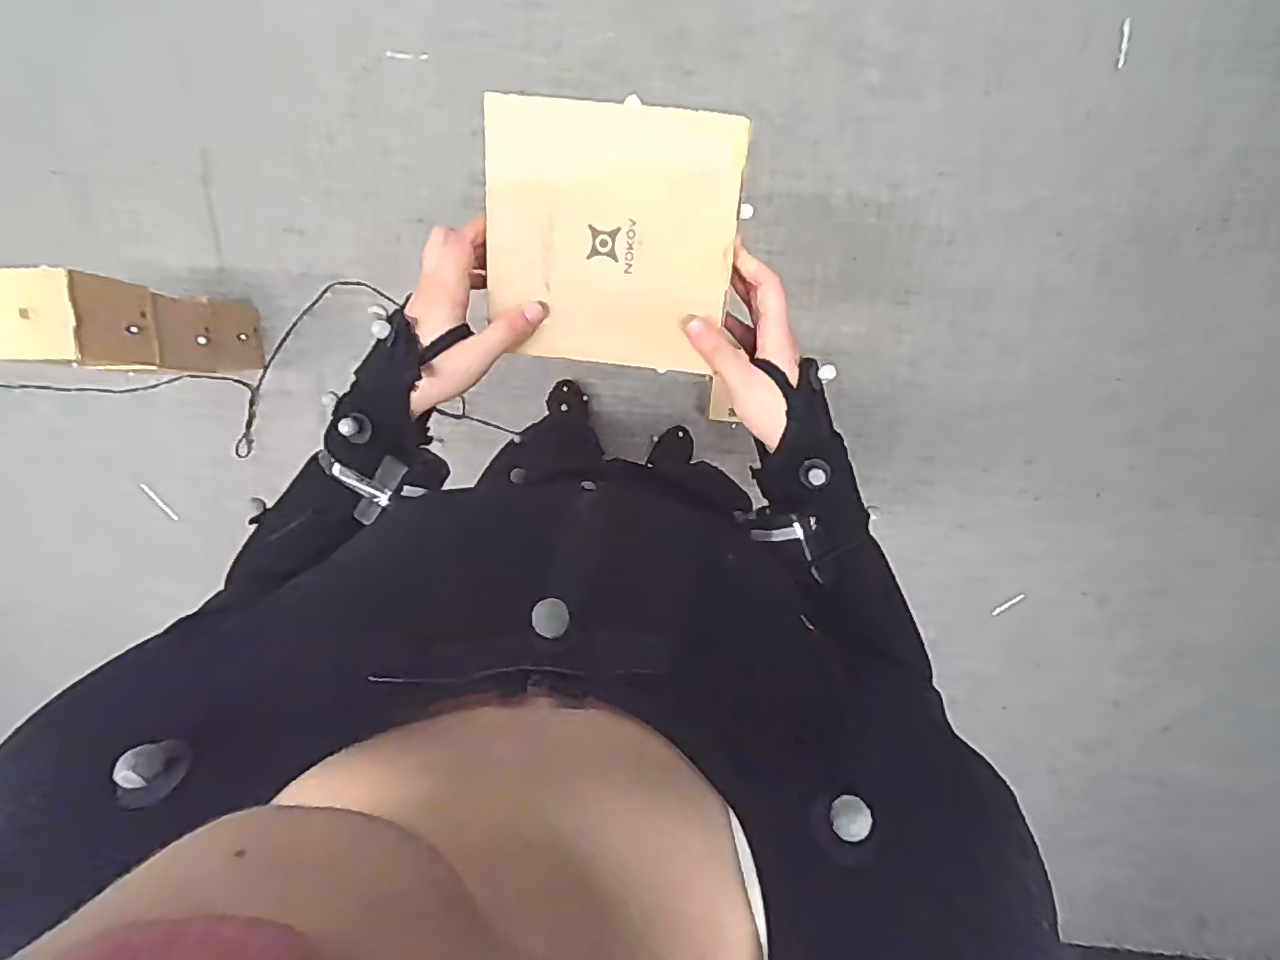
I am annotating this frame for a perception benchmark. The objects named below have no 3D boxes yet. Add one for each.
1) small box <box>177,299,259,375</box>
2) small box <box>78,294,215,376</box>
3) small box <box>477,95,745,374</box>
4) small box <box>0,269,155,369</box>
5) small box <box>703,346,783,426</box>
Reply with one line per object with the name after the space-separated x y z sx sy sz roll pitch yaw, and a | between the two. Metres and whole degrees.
-1.124 -0.364 1.396 0.179 0.176 0.168 -3 96 3 | small box
-1.127 -0.326 1.236 0.179 0.176 0.168 0 98 1 | small box
-0.020 -0.190 0.447 0.179 0.176 0.168 6 110 3 | small box
-1.129 -0.312 1.074 0.179 0.176 0.168 -1 97 1 | small box
0.251 -0.230 1.360 0.168 0.176 0.179 5 97 2 | small box
